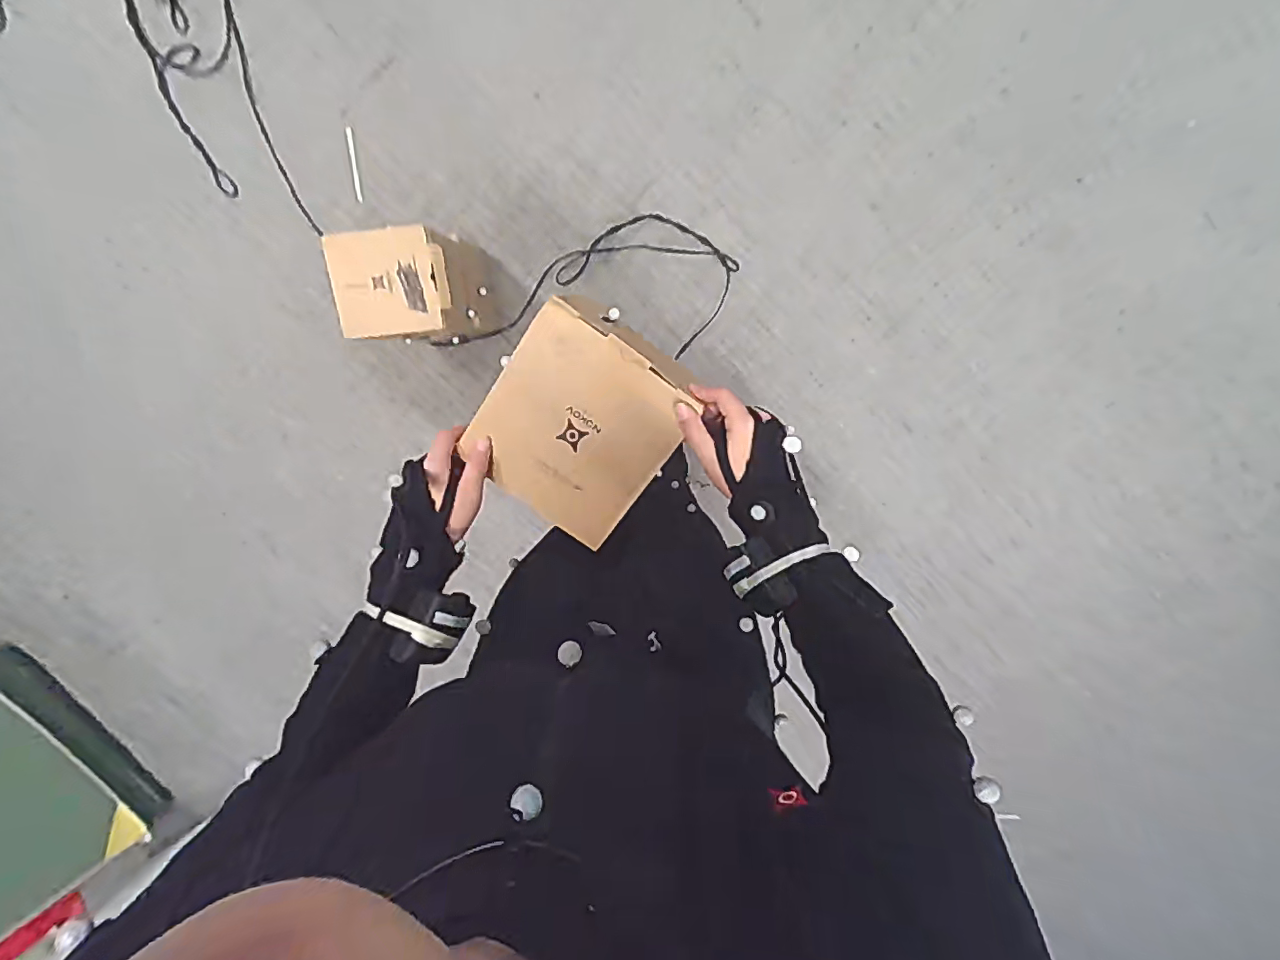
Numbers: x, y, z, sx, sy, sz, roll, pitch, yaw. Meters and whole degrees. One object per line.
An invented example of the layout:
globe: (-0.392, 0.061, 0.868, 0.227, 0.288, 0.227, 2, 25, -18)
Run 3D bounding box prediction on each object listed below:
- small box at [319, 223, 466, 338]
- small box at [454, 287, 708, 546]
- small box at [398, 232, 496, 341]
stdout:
small box: (-0.421, -0.345, 0.959, 0.179, 0.176, 0.168, -6, 104, 2)
small box: (-0.050, -0.073, 0.551, 0.168, 0.176, 0.179, 36, 108, -6)
small box: (-0.413, -0.393, 1.117, 0.168, 0.176, 0.179, -11, 104, 2)
